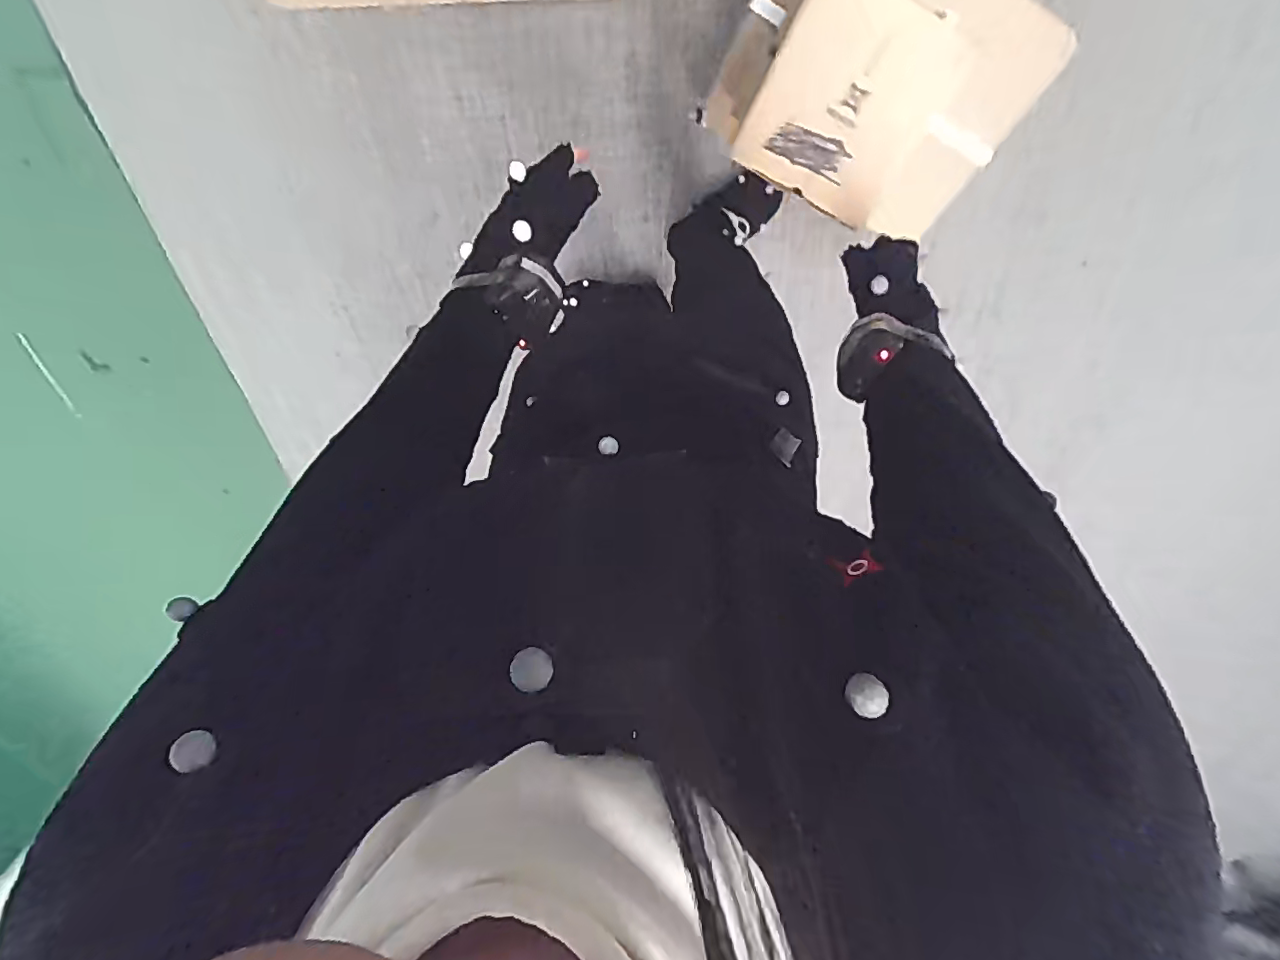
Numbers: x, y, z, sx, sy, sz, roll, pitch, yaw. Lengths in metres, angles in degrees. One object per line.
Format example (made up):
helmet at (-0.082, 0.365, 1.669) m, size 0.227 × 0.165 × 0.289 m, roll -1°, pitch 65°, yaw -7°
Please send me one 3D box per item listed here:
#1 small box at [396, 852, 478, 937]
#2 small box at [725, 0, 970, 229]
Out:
small box at (-0.623, 1.294, 1.693) m, size 0.179 × 0.176 × 0.168 m, roll 5°, pitch 129°, yaw 8°
small box at (0.211, -0.414, 0.593) m, size 0.168 × 0.176 × 0.179 m, roll 24°, pitch 129°, yaw -6°
